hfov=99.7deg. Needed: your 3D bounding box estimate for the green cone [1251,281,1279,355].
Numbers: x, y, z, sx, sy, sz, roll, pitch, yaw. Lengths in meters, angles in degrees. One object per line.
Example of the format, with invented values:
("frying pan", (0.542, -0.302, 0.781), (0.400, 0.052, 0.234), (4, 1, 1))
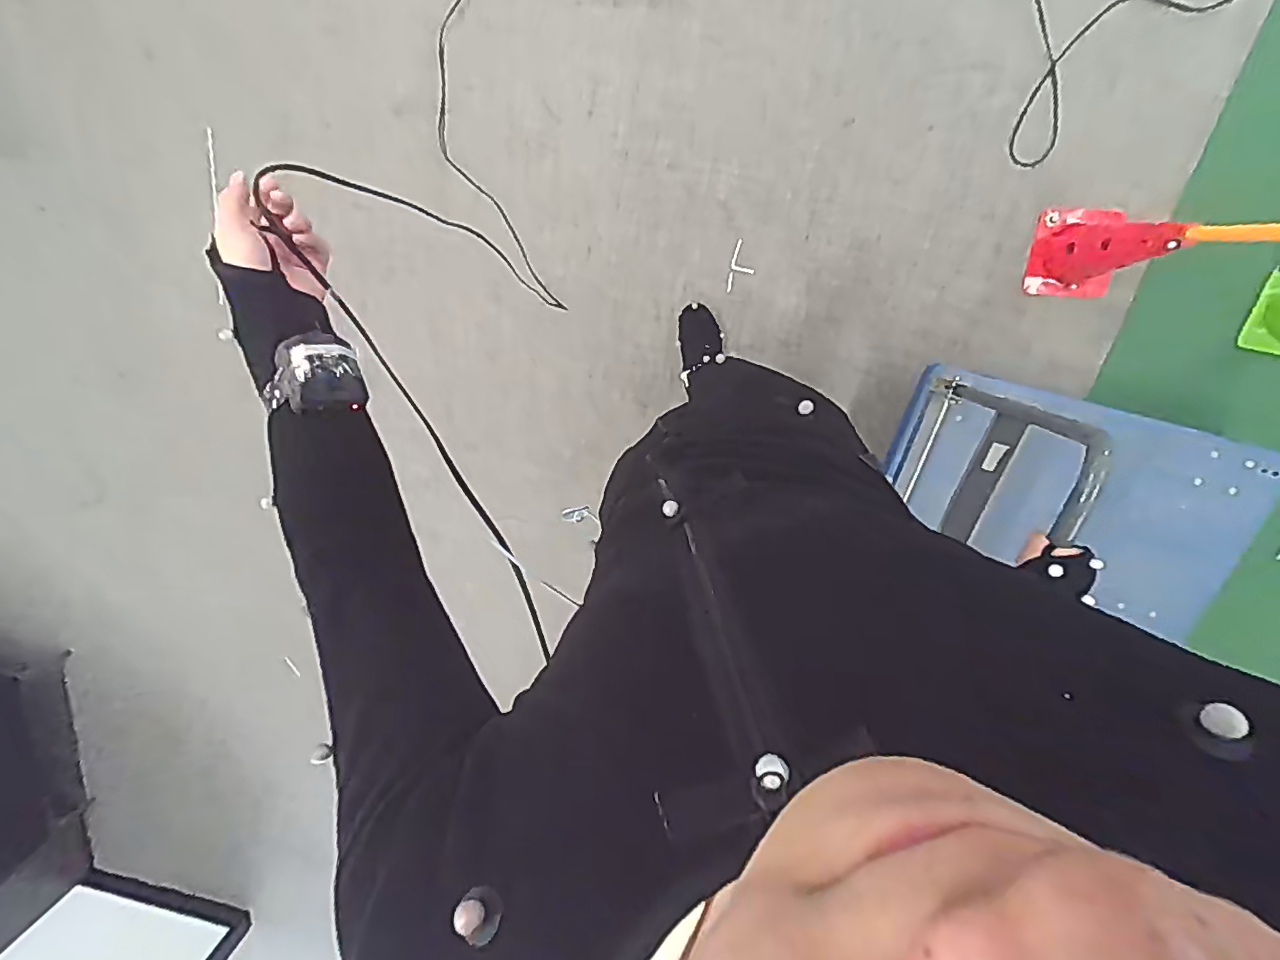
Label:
("green cone", (1.575, -0.347, 1.122), (0.202, 0.368, 0.200), (13, 107, 3))
